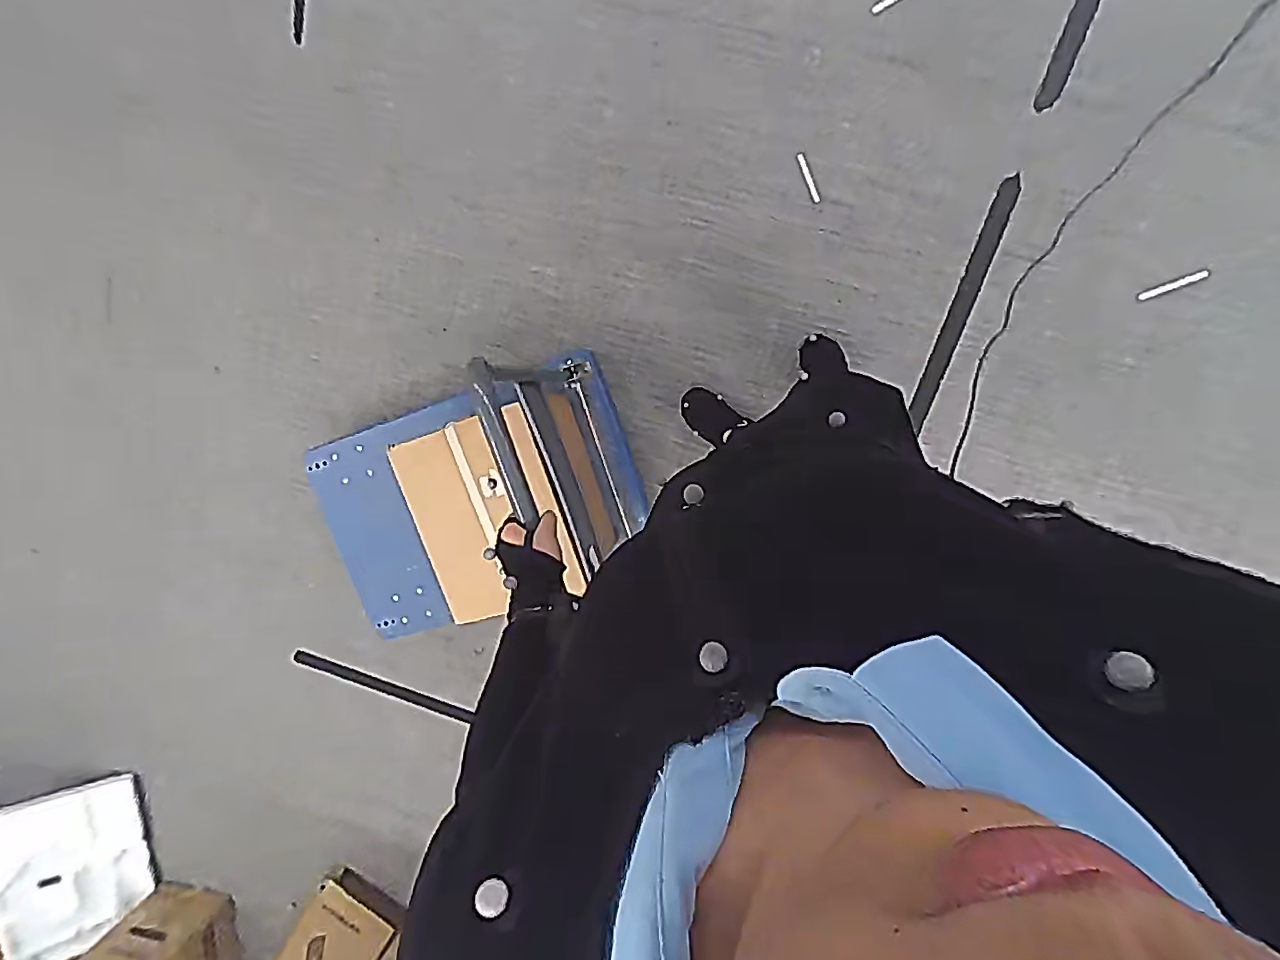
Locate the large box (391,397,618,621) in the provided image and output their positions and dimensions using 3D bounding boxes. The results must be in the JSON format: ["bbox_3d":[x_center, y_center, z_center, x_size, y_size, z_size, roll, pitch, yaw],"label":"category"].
[{"bbox_3d":[-0.282,0.049,1.245,0.320,0.320,0.408,-17,98,12],"label":"large box"}]
